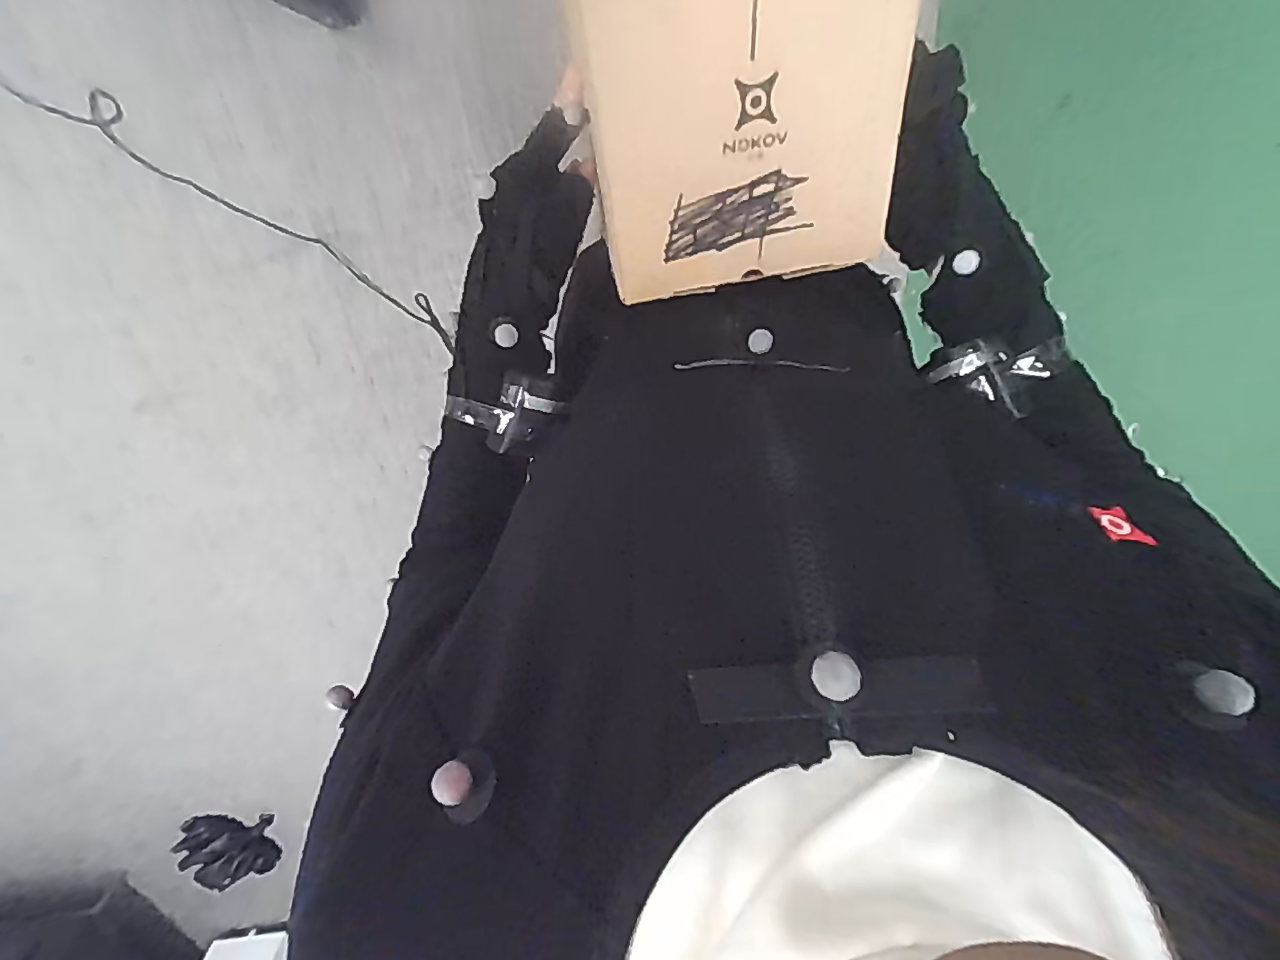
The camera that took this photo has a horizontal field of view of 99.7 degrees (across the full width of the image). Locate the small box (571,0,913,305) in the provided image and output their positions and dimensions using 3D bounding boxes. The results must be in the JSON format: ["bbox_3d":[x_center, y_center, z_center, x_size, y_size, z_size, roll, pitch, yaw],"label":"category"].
[{"bbox_3d":[0.049,-0.243,0.358,0.168,0.176,0.179,-10,132,-1],"label":"small box"}]
